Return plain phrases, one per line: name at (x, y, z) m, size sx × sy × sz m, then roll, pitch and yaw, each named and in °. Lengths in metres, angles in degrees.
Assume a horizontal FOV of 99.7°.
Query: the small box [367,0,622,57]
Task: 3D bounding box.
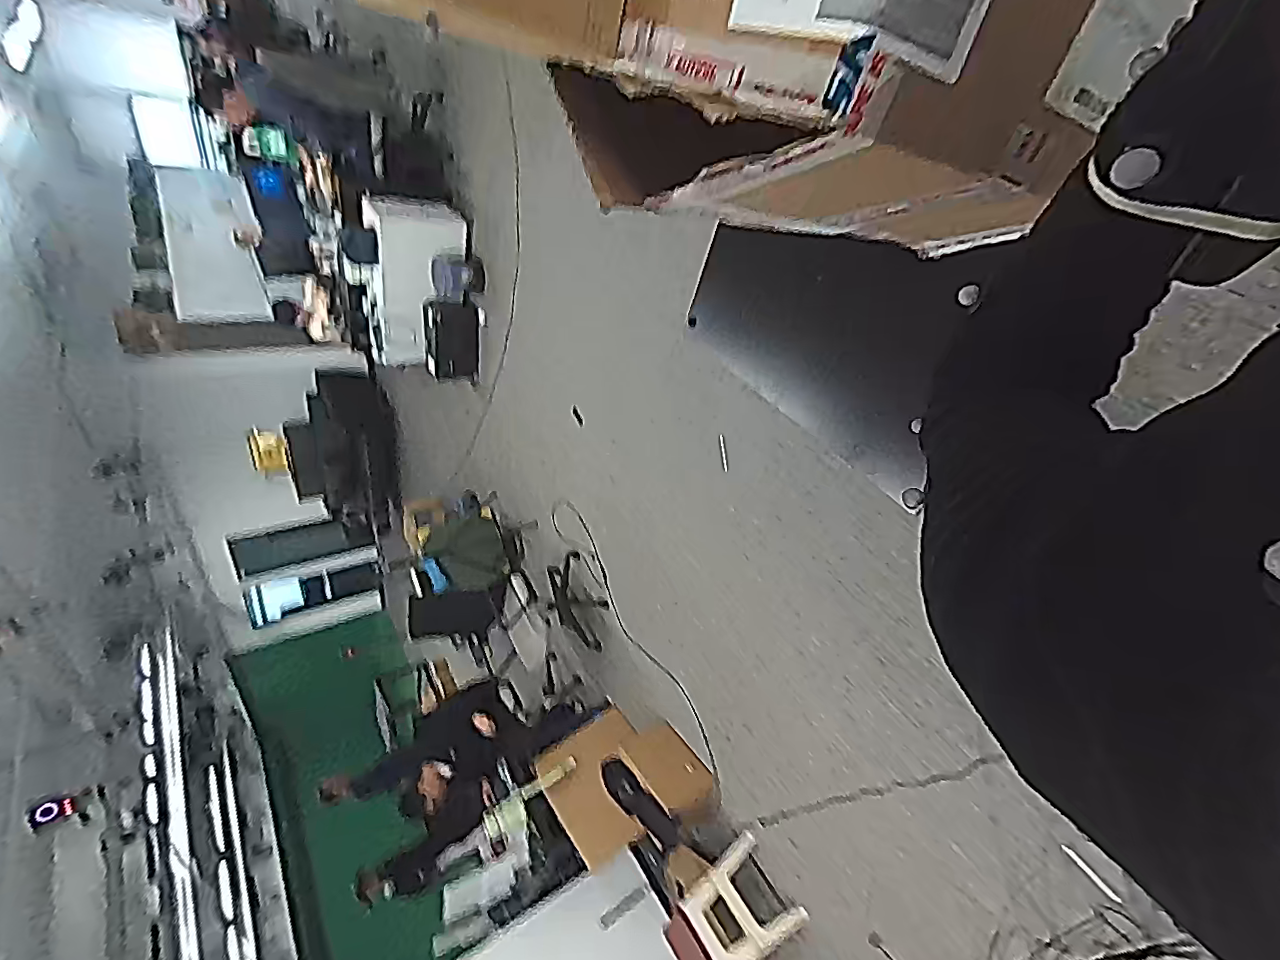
small box at (-0.116, -0.452, 0.420) m, size 0.179 × 0.176 × 0.168 m, roll 44°, pitch 134°, yaw 40°
